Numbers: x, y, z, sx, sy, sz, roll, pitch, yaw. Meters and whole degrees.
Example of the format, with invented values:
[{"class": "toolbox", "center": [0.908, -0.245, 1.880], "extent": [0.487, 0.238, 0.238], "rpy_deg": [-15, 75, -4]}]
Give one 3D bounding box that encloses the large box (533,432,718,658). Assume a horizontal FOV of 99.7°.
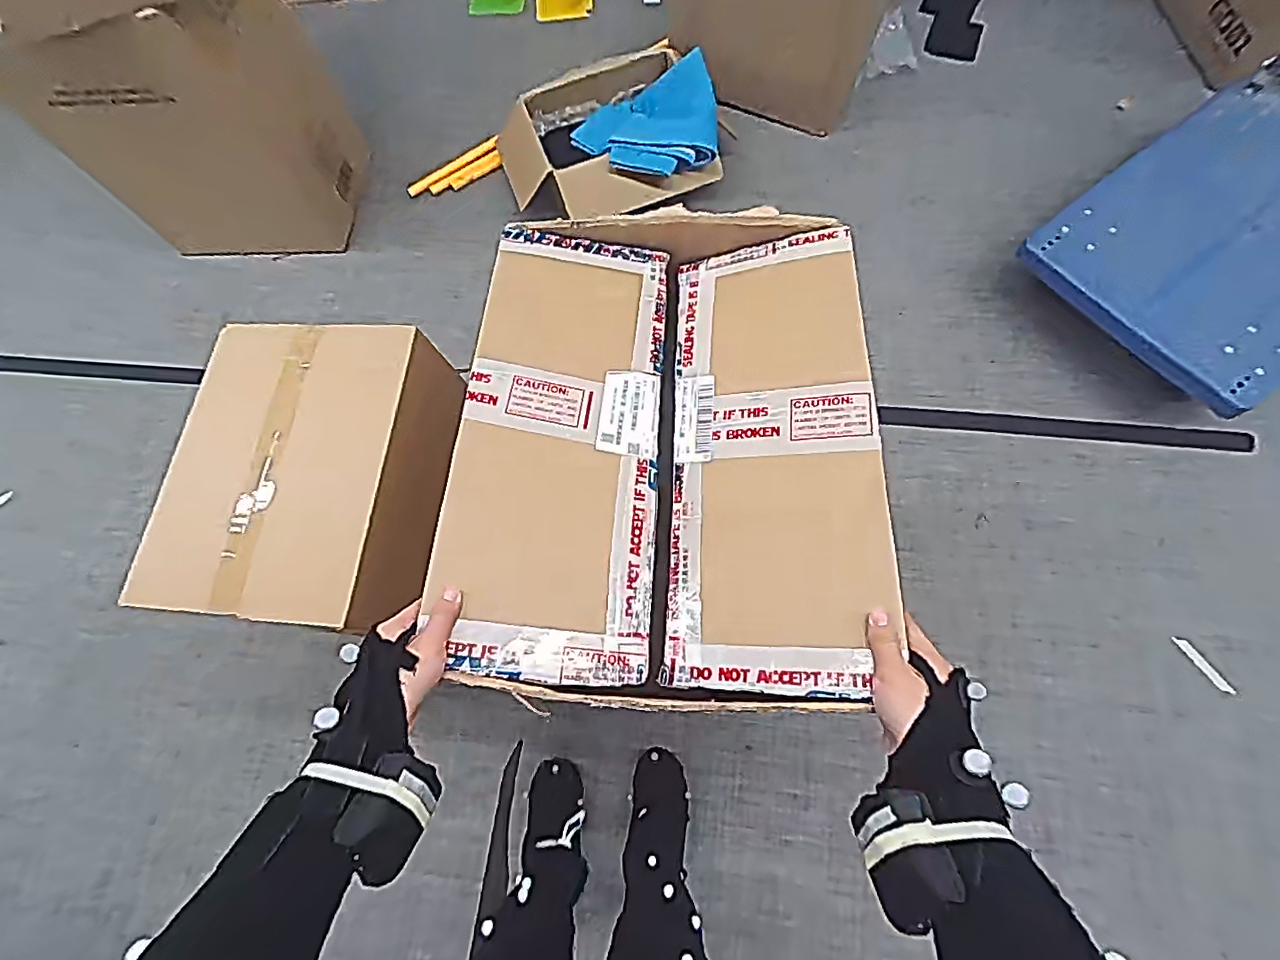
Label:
[{"class": "large box", "center": [-0.013, 0.145, 1.119], "extent": [0.320, 0.320, 0.408], "rpy_deg": [3, 72, 5]}]
